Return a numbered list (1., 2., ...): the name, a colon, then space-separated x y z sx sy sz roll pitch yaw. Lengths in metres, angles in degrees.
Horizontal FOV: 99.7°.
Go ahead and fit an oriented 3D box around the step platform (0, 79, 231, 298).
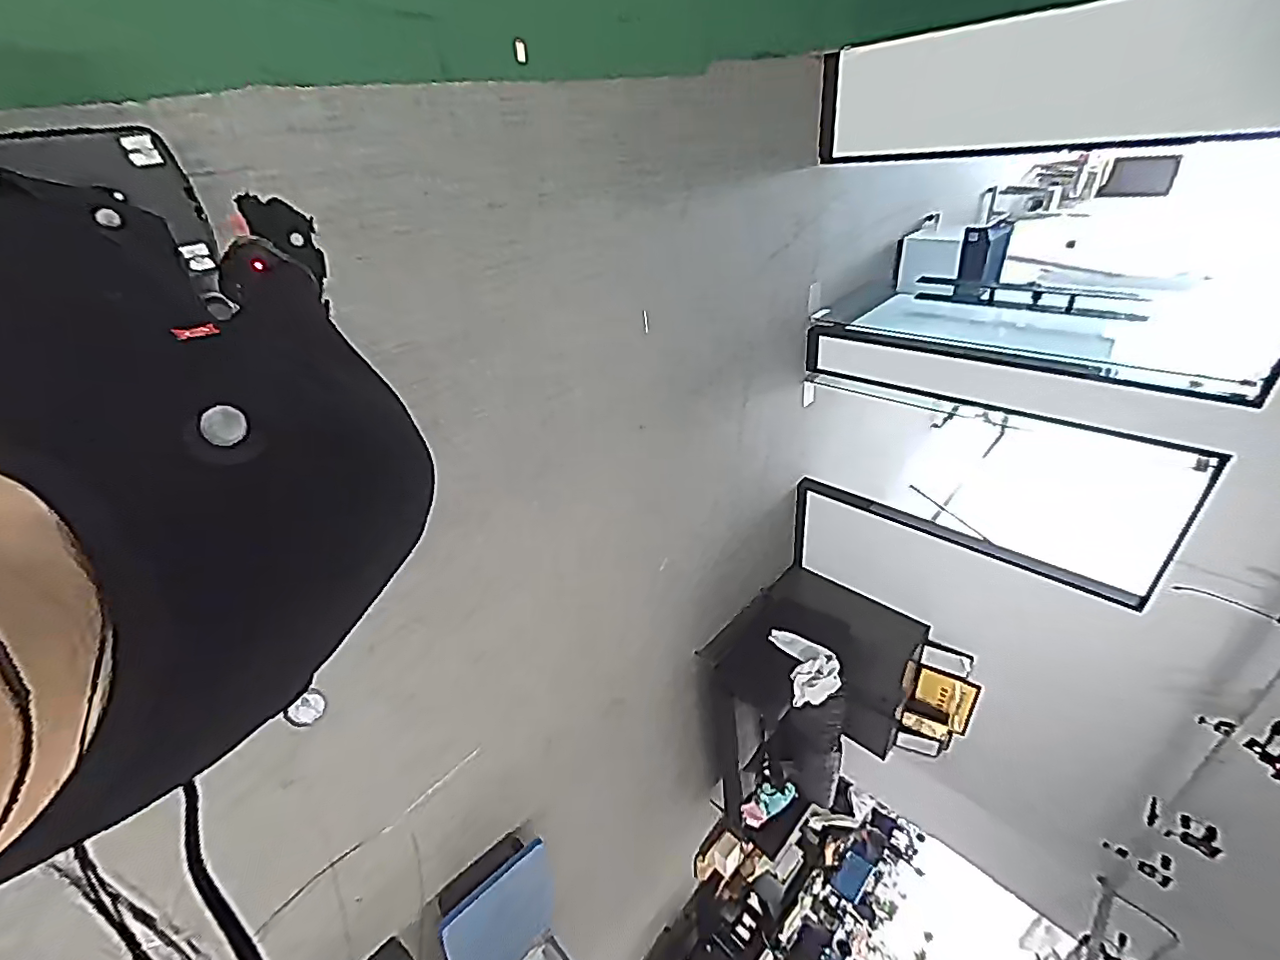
1. step platform: -1.068 -0.414 0.823 0.684 0.204 0.286 -33 132 -33
